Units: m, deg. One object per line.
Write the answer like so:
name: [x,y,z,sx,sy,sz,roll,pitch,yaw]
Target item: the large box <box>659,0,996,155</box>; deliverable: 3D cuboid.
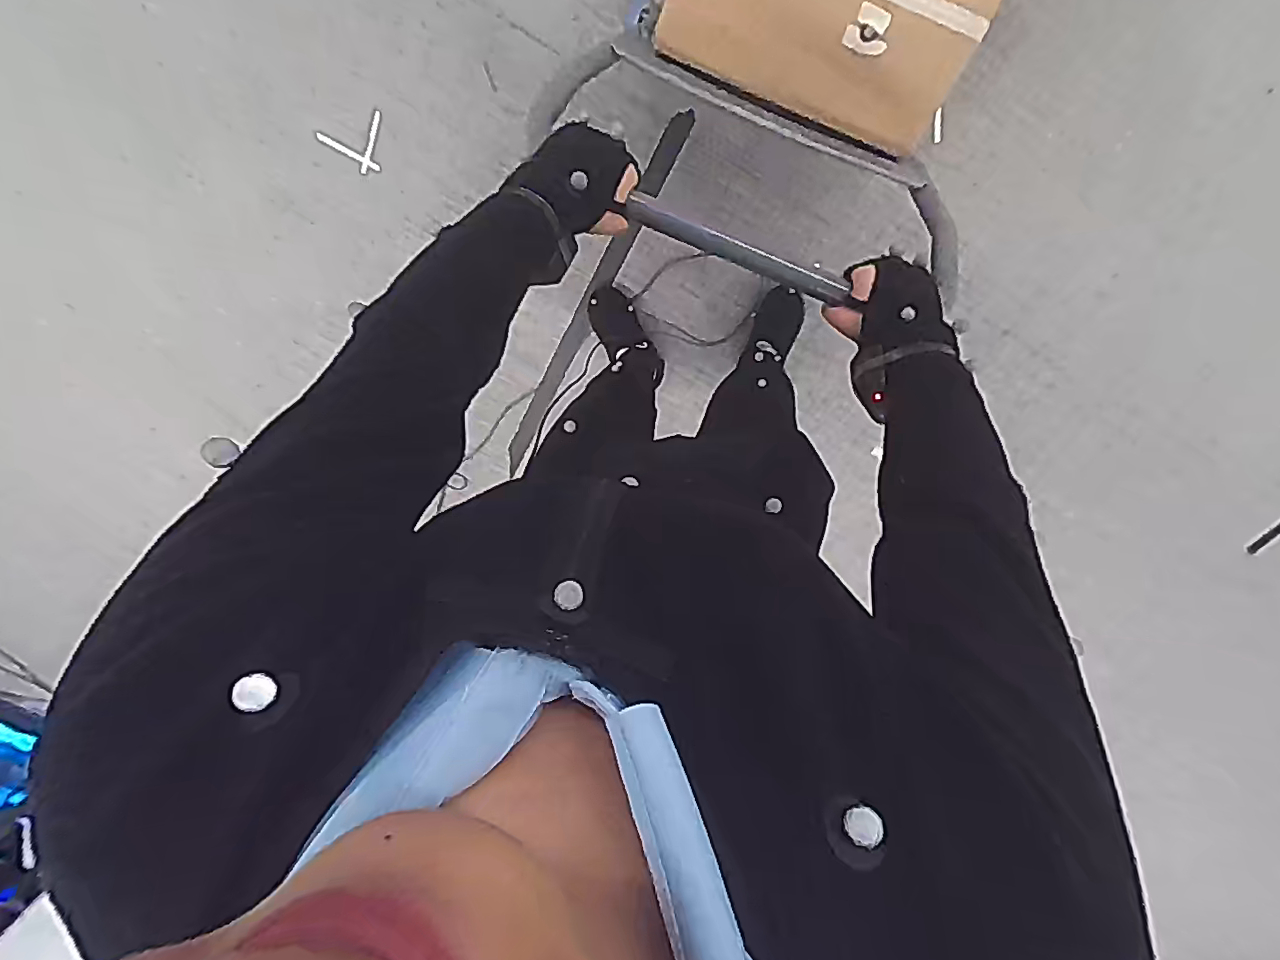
large box: [0.279,-0.746,0.801,0.408,0.320,0.320,20,133,-5]
